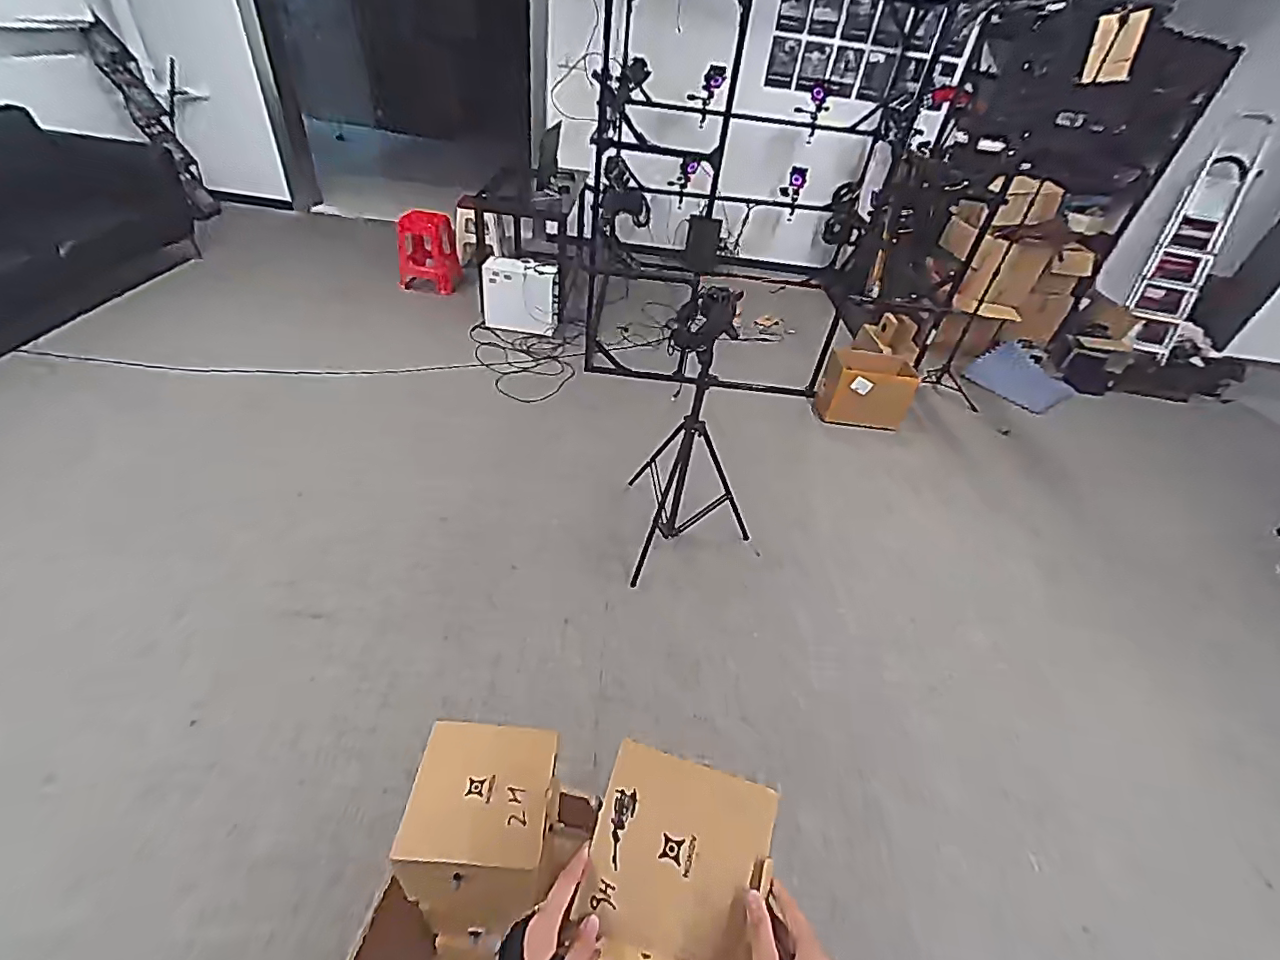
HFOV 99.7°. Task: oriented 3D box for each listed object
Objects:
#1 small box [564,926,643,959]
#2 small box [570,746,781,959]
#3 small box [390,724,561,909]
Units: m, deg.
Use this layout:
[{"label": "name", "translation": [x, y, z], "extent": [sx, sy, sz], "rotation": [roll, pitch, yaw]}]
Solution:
[{"label": "small box", "translation": [-0.005, 0.642, 0.805], "extent": [0.168, 0.176, 0.179], "rotation": [13, 38, 8]}, {"label": "small box", "translation": [0.037, 0.417, 0.597], "extent": [0.179, 0.176, 0.168], "rotation": [16, 57, 8]}, {"label": "small box", "translation": [-0.208, 0.457, 0.734], "extent": [0.179, 0.176, 0.168], "rotation": [7, 39, -3]}]
